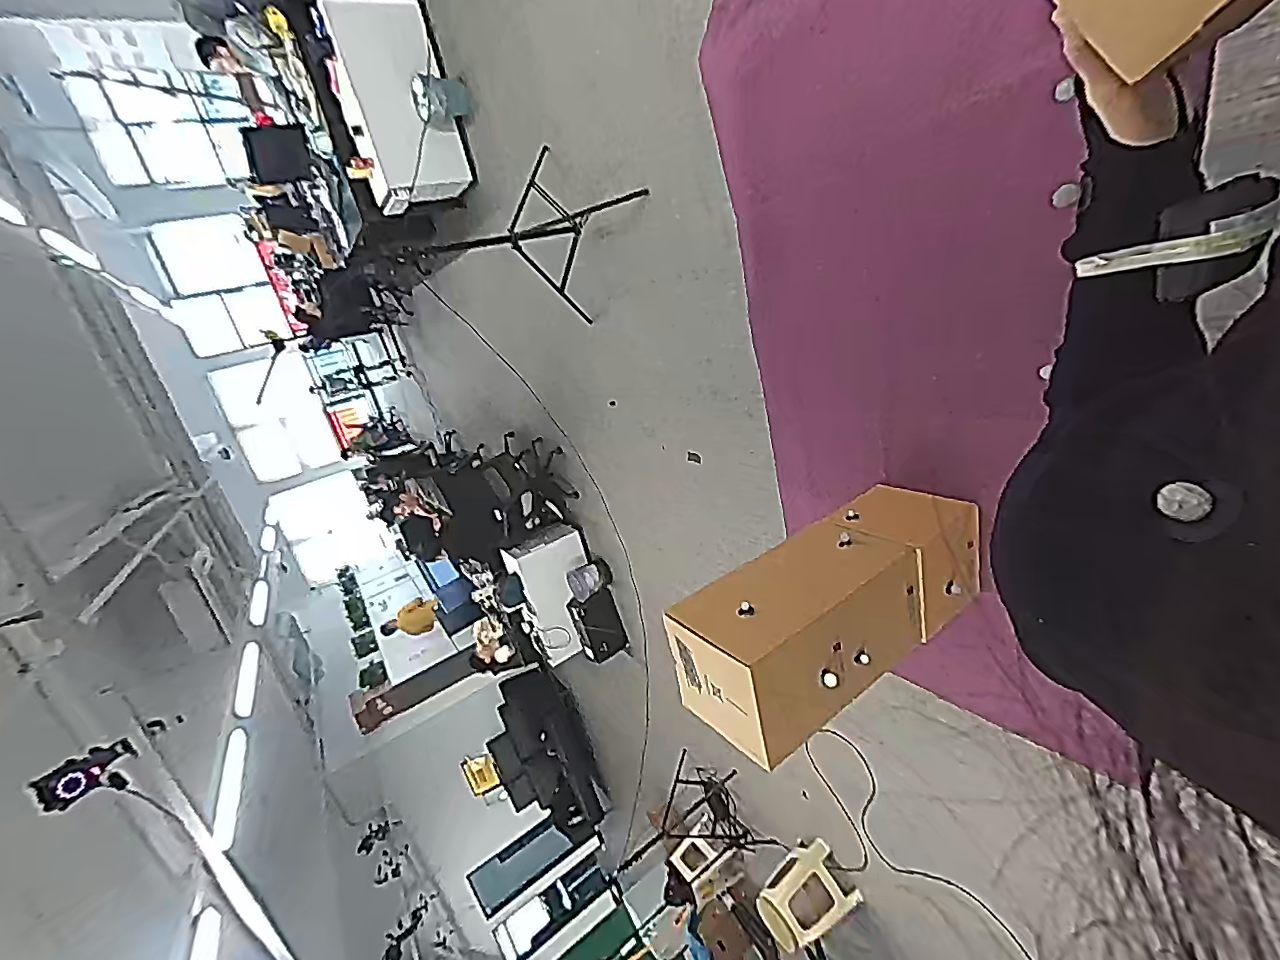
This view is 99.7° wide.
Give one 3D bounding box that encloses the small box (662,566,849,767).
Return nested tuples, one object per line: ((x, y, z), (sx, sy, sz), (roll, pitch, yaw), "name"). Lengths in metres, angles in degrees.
((0.158, 0.238, 0.743), (0.179, 0.176, 0.168), (17, 126, 55), "small box")

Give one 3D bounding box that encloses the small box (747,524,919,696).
((0.292, 0.182, 0.822), (0.179, 0.176, 0.168), (17, 126, 57), "small box")

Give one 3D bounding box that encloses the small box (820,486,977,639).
((0.428, 0.123, 0.892), (0.179, 0.176, 0.168), (18, 126, 56), "small box")

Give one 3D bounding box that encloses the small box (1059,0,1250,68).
((0.283, -0.339, 0.239), (0.179, 0.176, 0.168), (54, 158, 4), "small box")
